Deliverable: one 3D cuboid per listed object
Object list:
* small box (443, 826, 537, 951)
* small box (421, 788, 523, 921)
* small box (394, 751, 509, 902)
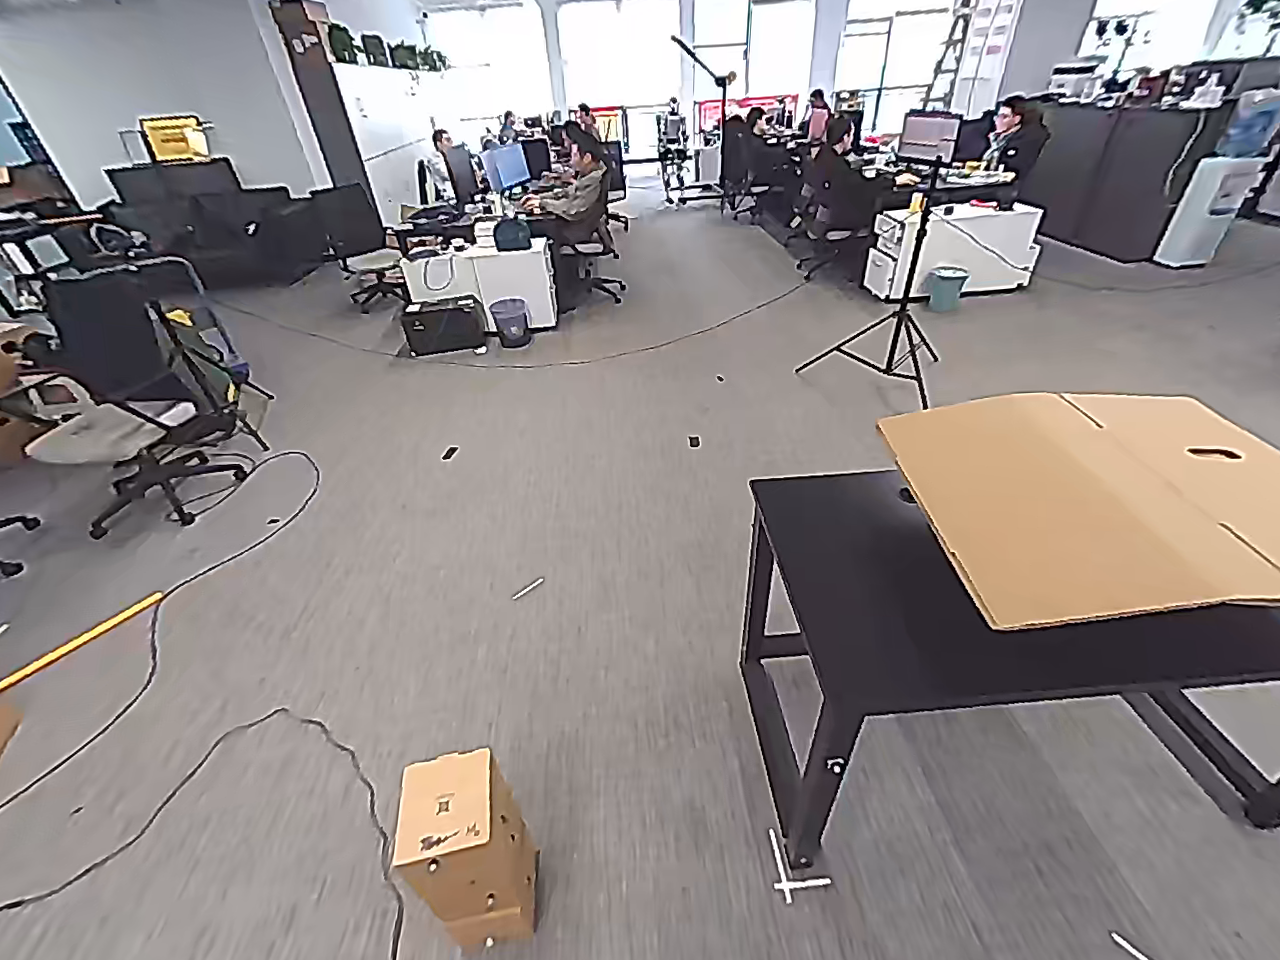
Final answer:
[{"bbox_3d":[-0.331,0.927,1.231,0.168,0.176,0.179,-7,37,-4],"label":"small box"},{"bbox_3d":[-0.343,0.794,1.140,0.168,0.176,0.179,-8,35,-7],"label":"small box"},{"bbox_3d":[-0.352,0.663,1.040,0.168,0.176,0.179,-10,36,-8],"label":"small box"}]
